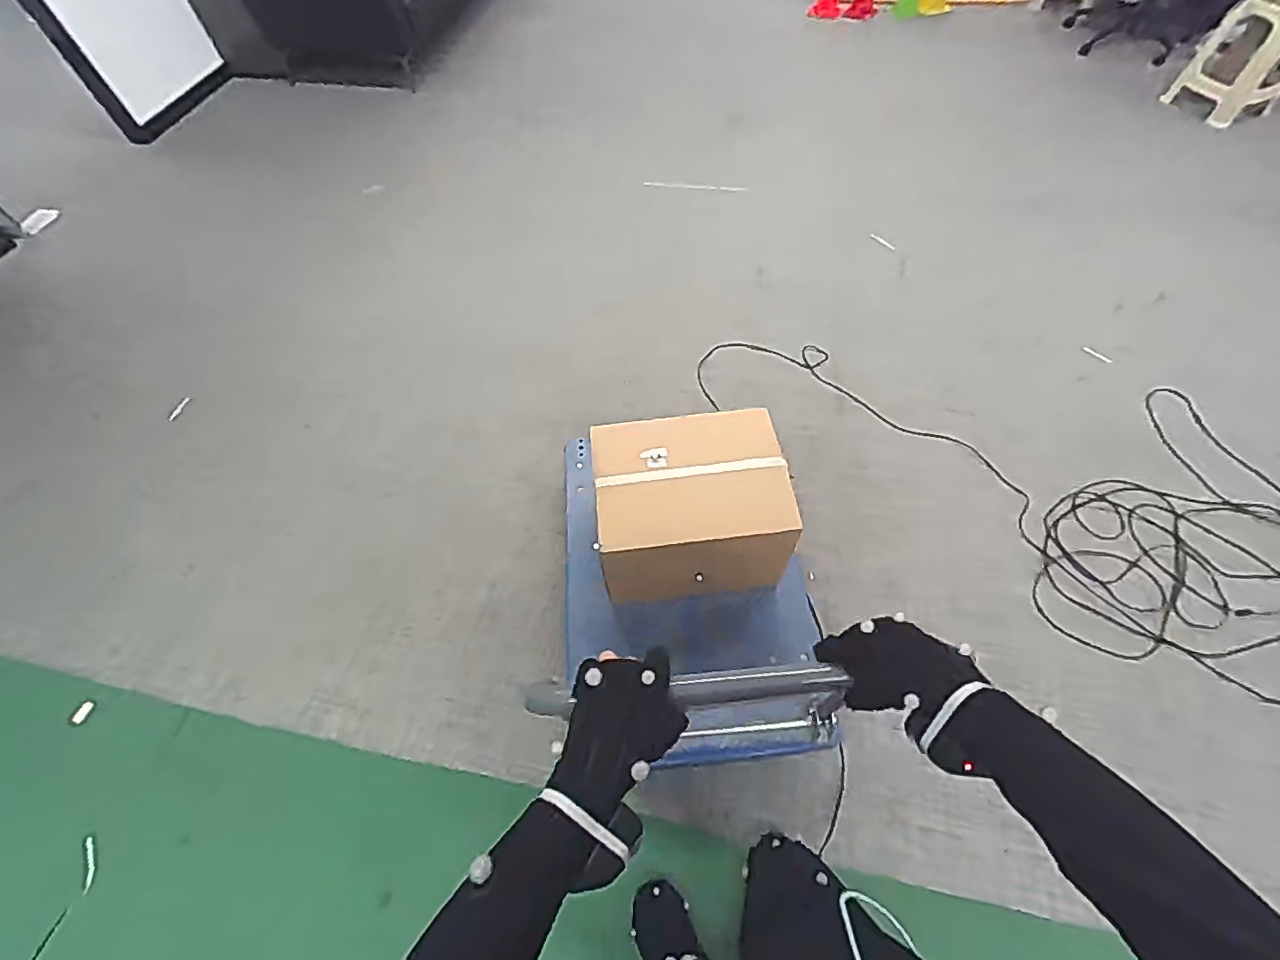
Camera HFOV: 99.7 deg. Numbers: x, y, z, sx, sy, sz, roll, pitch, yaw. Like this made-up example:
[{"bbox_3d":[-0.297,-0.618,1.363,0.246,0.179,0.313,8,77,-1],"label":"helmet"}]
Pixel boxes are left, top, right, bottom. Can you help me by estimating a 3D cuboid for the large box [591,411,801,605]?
[{"bbox_3d":[0.115,0.076,1.269,0.408,0.320,0.320,-8,57,-1],"label":"large box"}]
